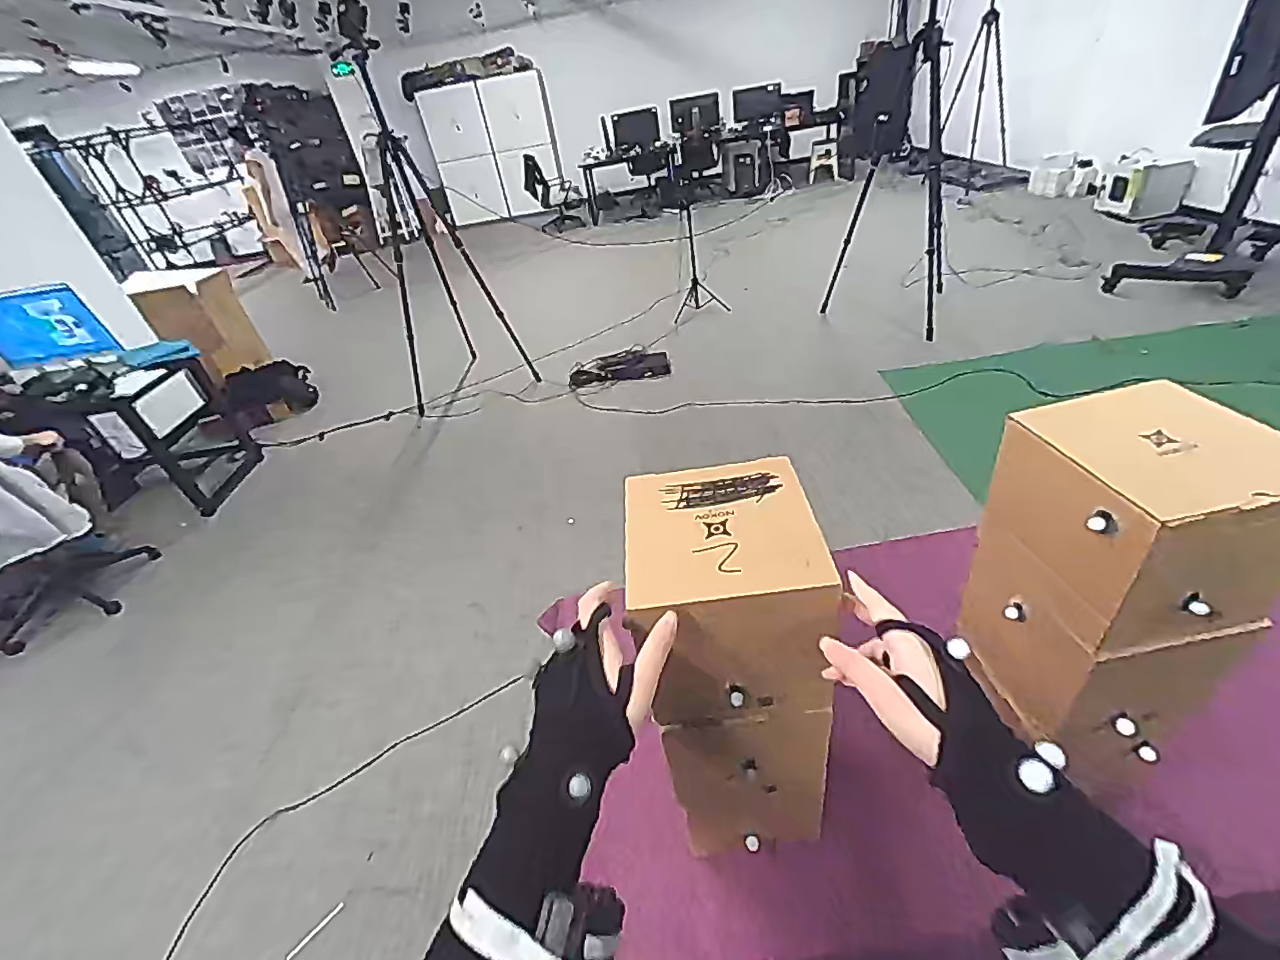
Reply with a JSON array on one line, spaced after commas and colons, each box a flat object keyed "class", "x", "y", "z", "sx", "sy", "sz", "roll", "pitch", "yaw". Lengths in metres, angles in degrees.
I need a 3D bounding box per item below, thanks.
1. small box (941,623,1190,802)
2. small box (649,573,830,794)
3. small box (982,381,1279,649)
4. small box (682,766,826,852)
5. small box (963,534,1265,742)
[{"class": "small box", "x": 0.530, "y": 0.292, "z": 0.708, "sx": 0.179, "sy": 0.176, "sz": 0.168, "roll": -11, "pitch": 36, "yaw": 1}, {"class": "small box", "x": 0.108, "y": 0.237, "z": 0.622, "sx": 0.168, "sy": 0.176, "sz": 0.179, "roll": -9, "pitch": 37, "yaw": 3}, {"class": "small box", "x": 0.472, "y": 0.030, "z": 0.523, "sx": 0.168, "sy": 0.176, "sz": 0.179, "roll": -13, "pitch": 37, "yaw": -1}, {"class": "small box", "x": 0.137, "y": 0.361, "z": 0.725, "sx": 0.168, "sy": 0.176, "sz": 0.179, "roll": -10, "pitch": 37, "yaw": 3}, {"class": "small box", "x": 0.502, "y": 0.161, "z": 0.614, "sx": 0.168, "sy": 0.176, "sz": 0.179, "roll": -12, "pitch": 36, "yaw": 1}]
